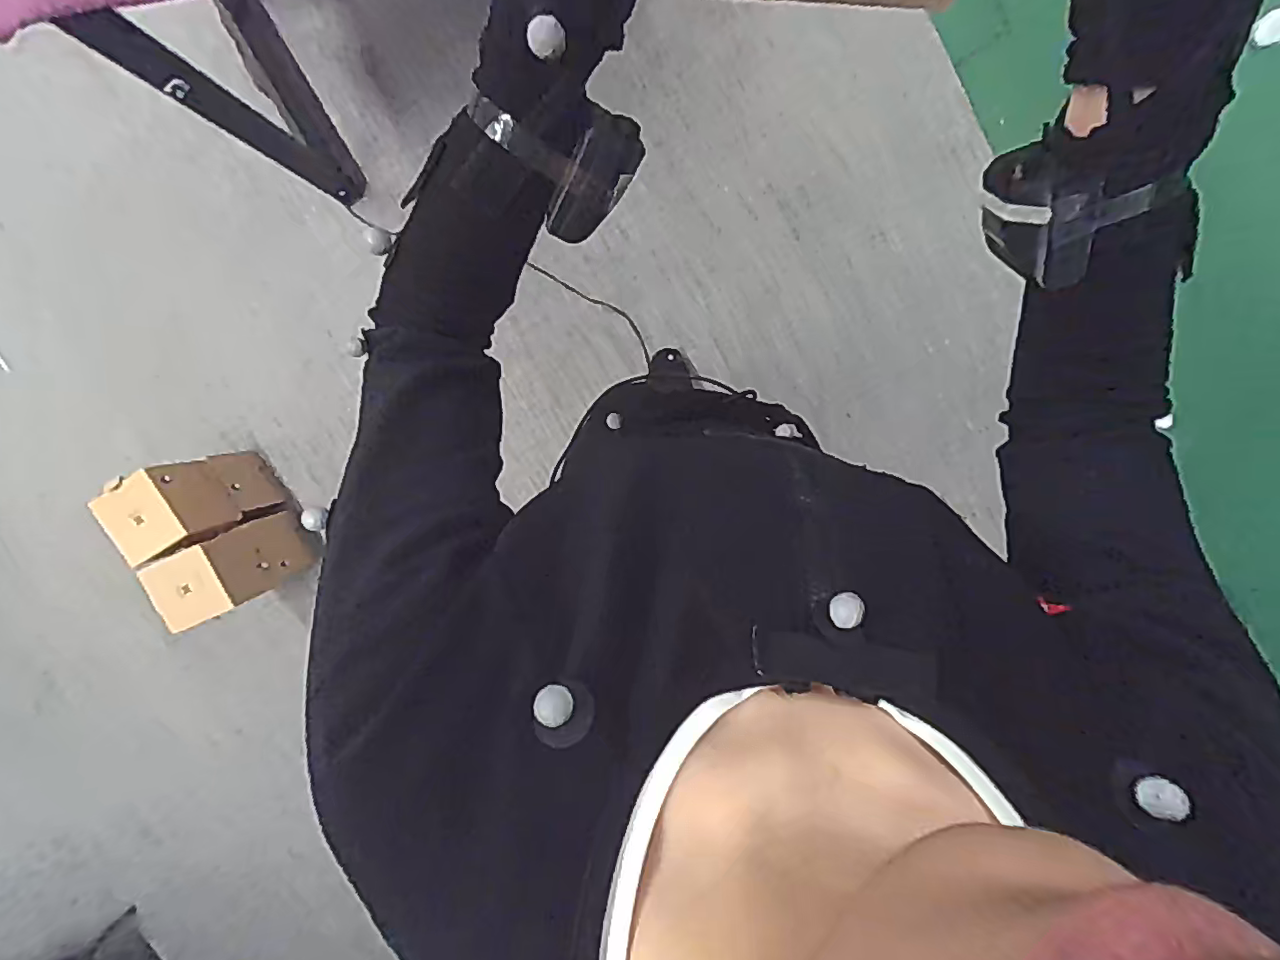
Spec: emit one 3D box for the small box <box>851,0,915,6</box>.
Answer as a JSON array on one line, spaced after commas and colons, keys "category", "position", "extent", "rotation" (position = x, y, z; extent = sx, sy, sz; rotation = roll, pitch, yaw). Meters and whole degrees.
[{"category": "small box", "position": [0.109, -0.378, 0.250], "extent": [0.168, 0.176, 0.179], "rotation": [5, 102, 3]}]
